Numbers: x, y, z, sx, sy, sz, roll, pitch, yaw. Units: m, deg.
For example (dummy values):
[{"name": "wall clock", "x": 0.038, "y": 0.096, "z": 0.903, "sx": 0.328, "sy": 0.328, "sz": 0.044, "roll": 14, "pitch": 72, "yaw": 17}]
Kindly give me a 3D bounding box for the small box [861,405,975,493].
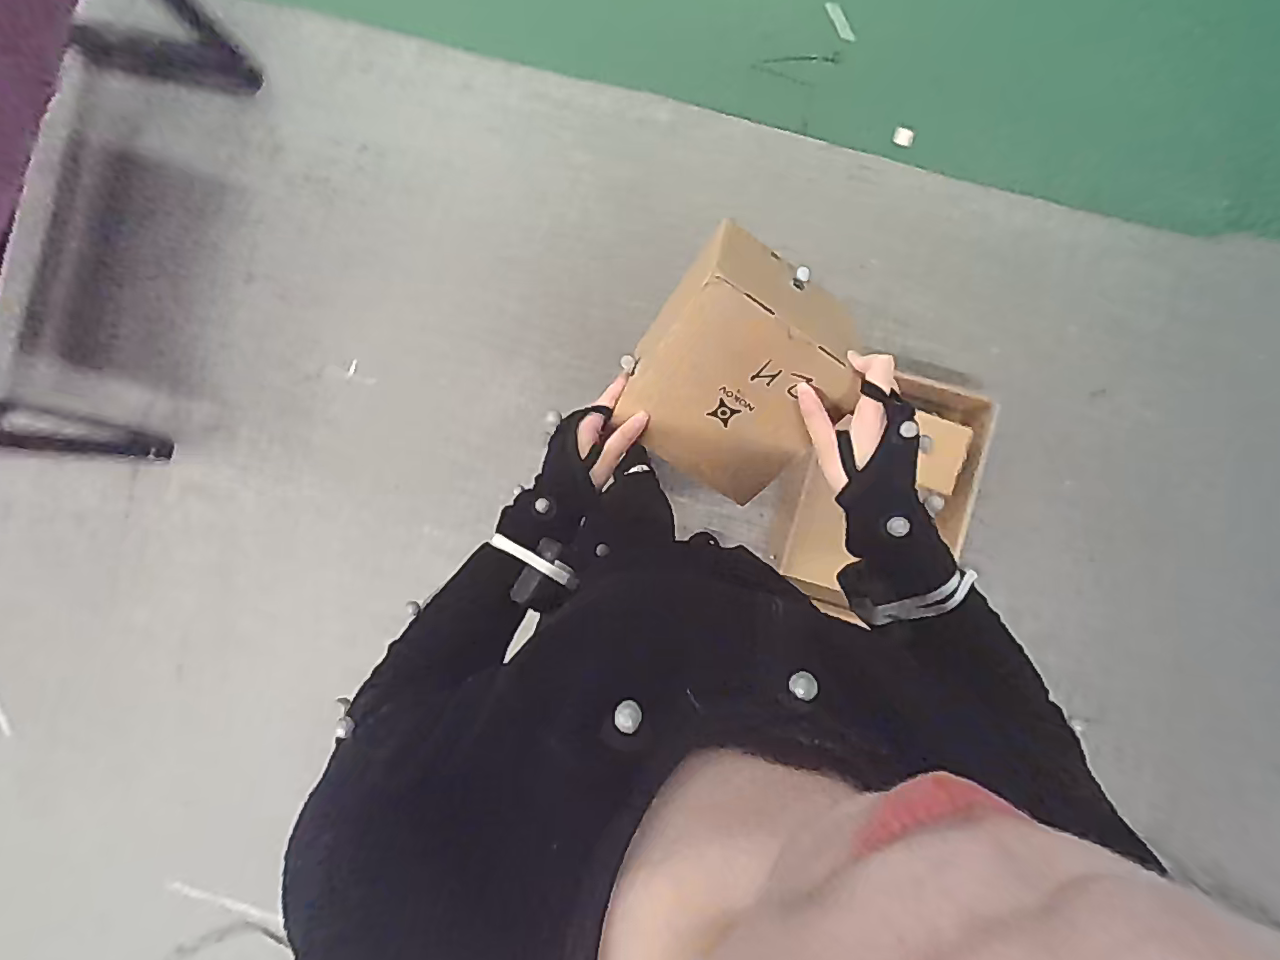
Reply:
[{"name": "small box", "x": 0.681, "y": -0.070, "z": 1.350, "sx": 0.179, "sy": 0.176, "sz": 0.168, "roll": 20, "pitch": 90, "yaw": 3}]
